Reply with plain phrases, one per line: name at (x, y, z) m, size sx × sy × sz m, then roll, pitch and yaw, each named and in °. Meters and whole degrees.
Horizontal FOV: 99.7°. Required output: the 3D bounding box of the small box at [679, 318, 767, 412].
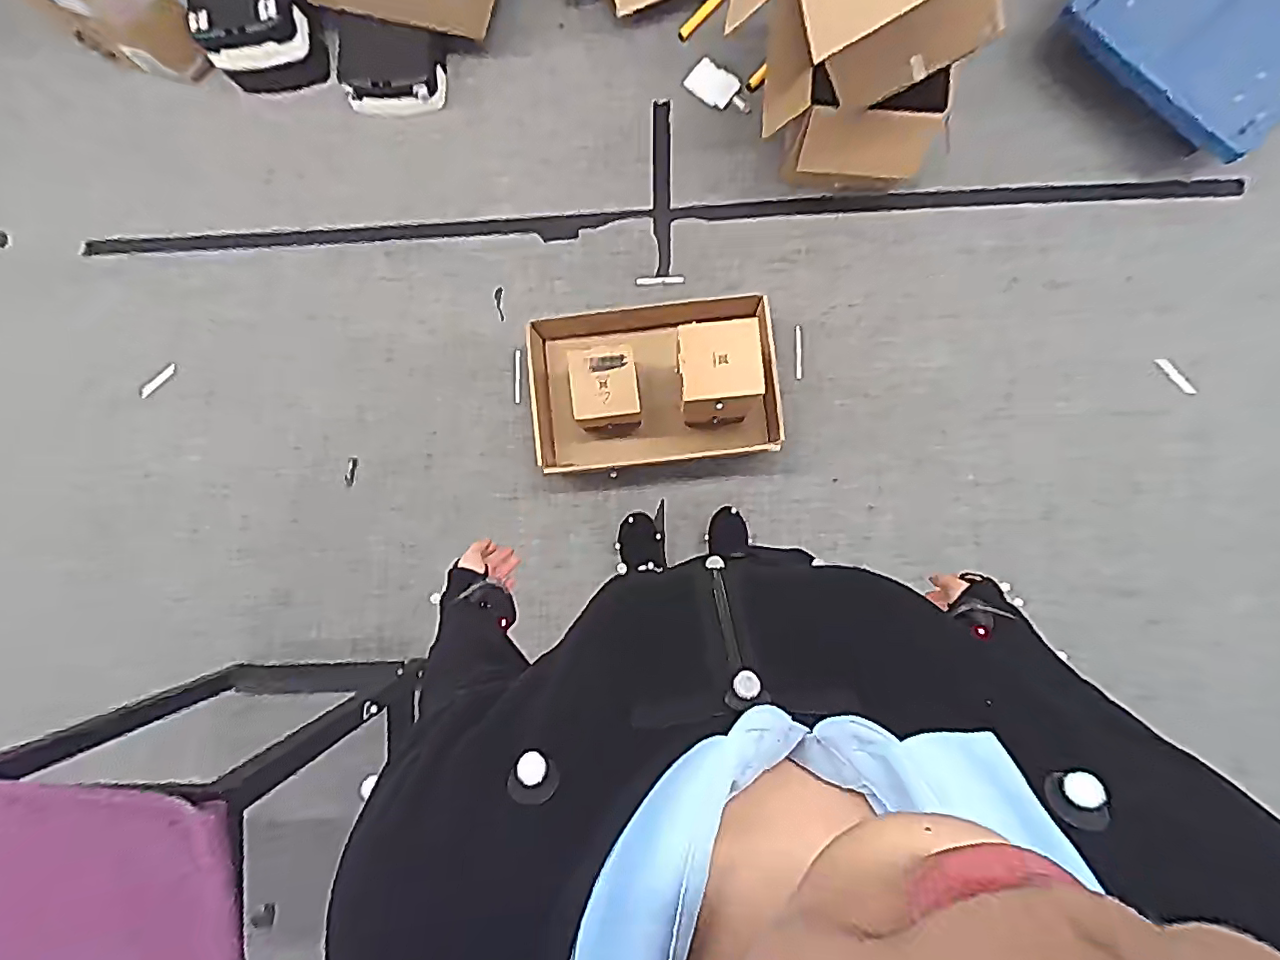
small box at (0.182, -0.255, 1.233) m, size 0.179 × 0.176 × 0.168 m, roll -5°, pitch 87°, yaw 4°

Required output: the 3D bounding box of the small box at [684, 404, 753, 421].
small box at (0.195, -0.250, 1.395) m, size 0.168 × 0.176 × 0.179 m, roll -5°, pitch 86°, yaw 3°
